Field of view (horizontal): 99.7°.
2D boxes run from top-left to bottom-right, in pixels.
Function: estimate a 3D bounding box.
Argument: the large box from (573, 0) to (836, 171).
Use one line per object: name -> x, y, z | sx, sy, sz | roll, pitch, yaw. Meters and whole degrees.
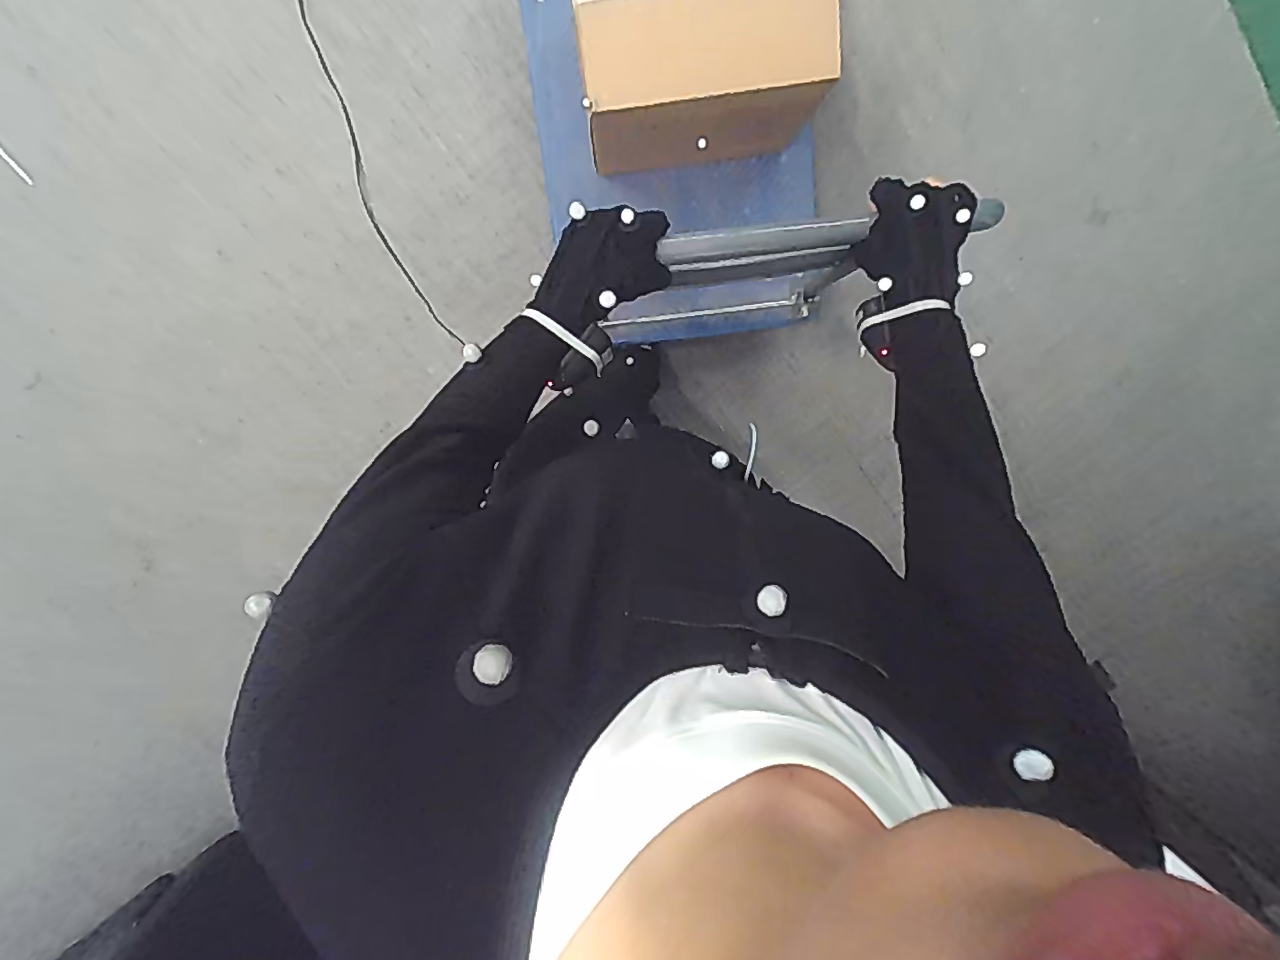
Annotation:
large box -> 0.095, -0.798, 0.977 | 0.408, 0.320, 0.320 | -8, 103, 0
